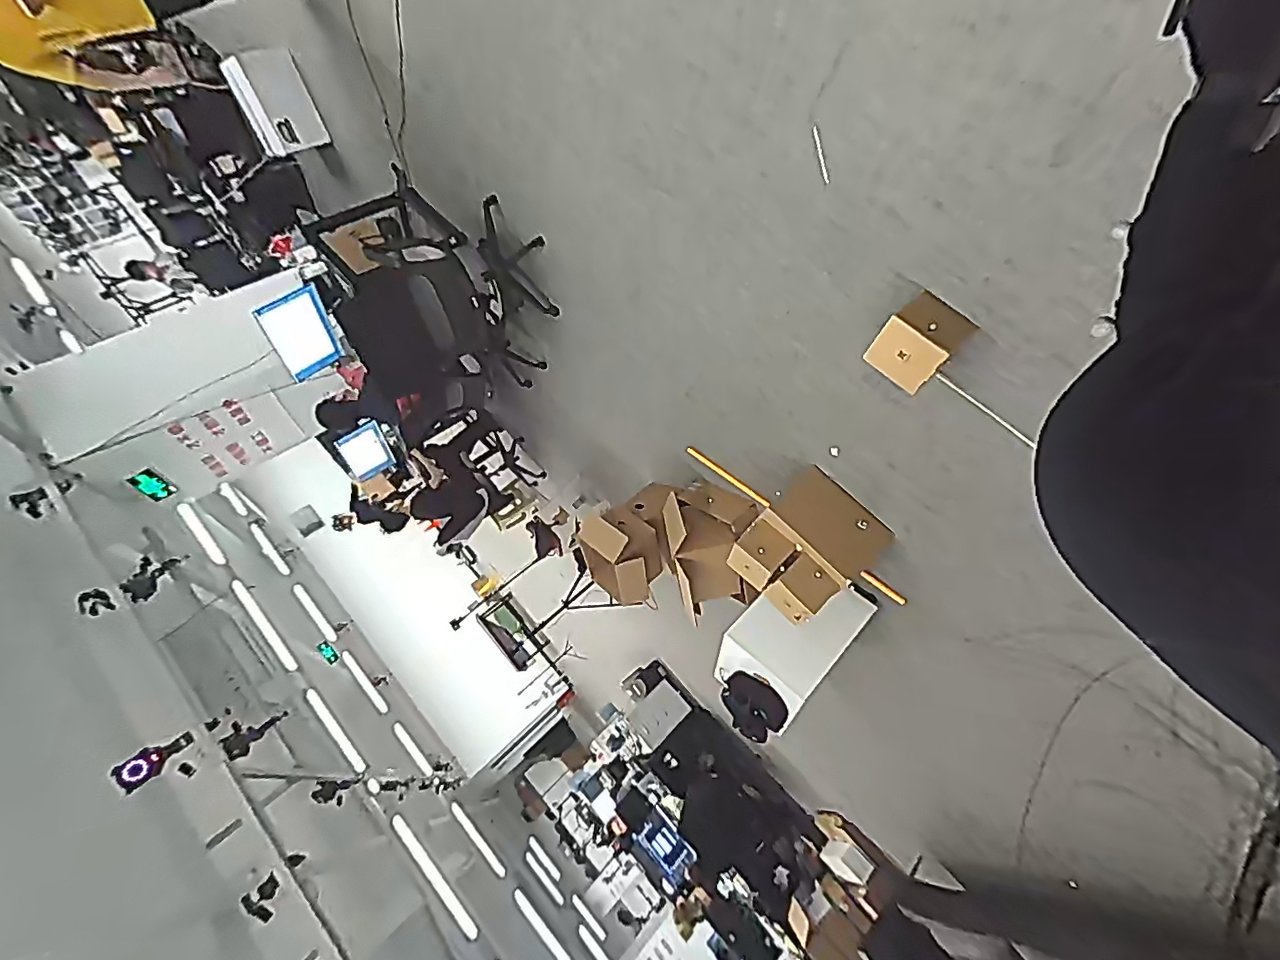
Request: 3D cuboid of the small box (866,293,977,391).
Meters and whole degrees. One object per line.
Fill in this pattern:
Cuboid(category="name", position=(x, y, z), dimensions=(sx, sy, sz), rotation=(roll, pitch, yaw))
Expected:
Cuboid(category="small box", position=(0.763, -0.382, 1.471), dimensions=(0.179, 0.176, 0.168), rotation=(43, 153, 15))
